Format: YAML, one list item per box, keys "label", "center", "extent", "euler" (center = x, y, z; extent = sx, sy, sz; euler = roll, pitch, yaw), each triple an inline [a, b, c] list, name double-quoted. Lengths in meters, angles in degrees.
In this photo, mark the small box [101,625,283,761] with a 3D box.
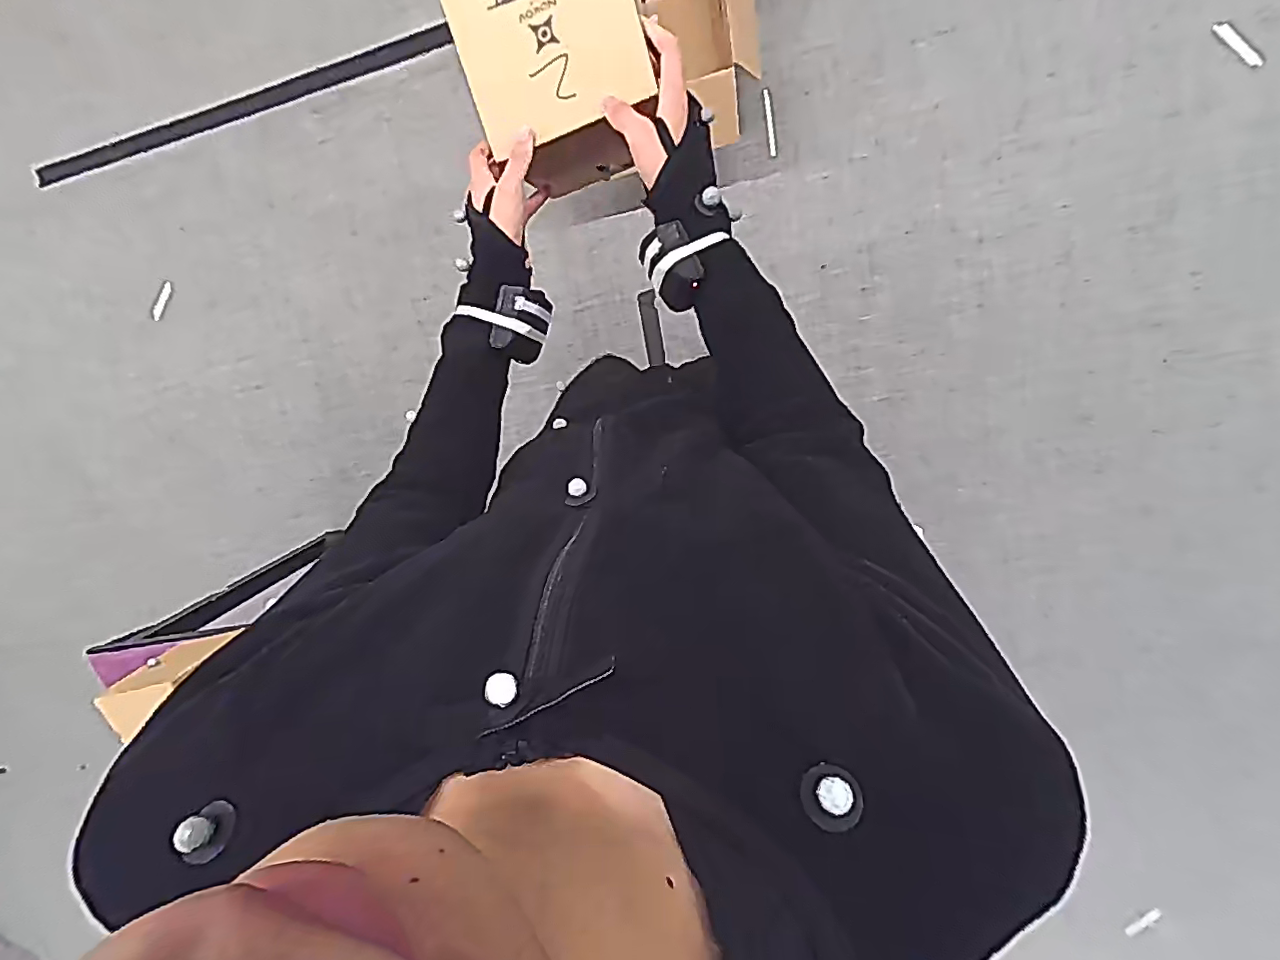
- label: "small box"
  center: [-0.846, 0.403, 1.039]
  extent: [0.179, 0.176, 0.168]
  euler: [-14, 107, 12]
